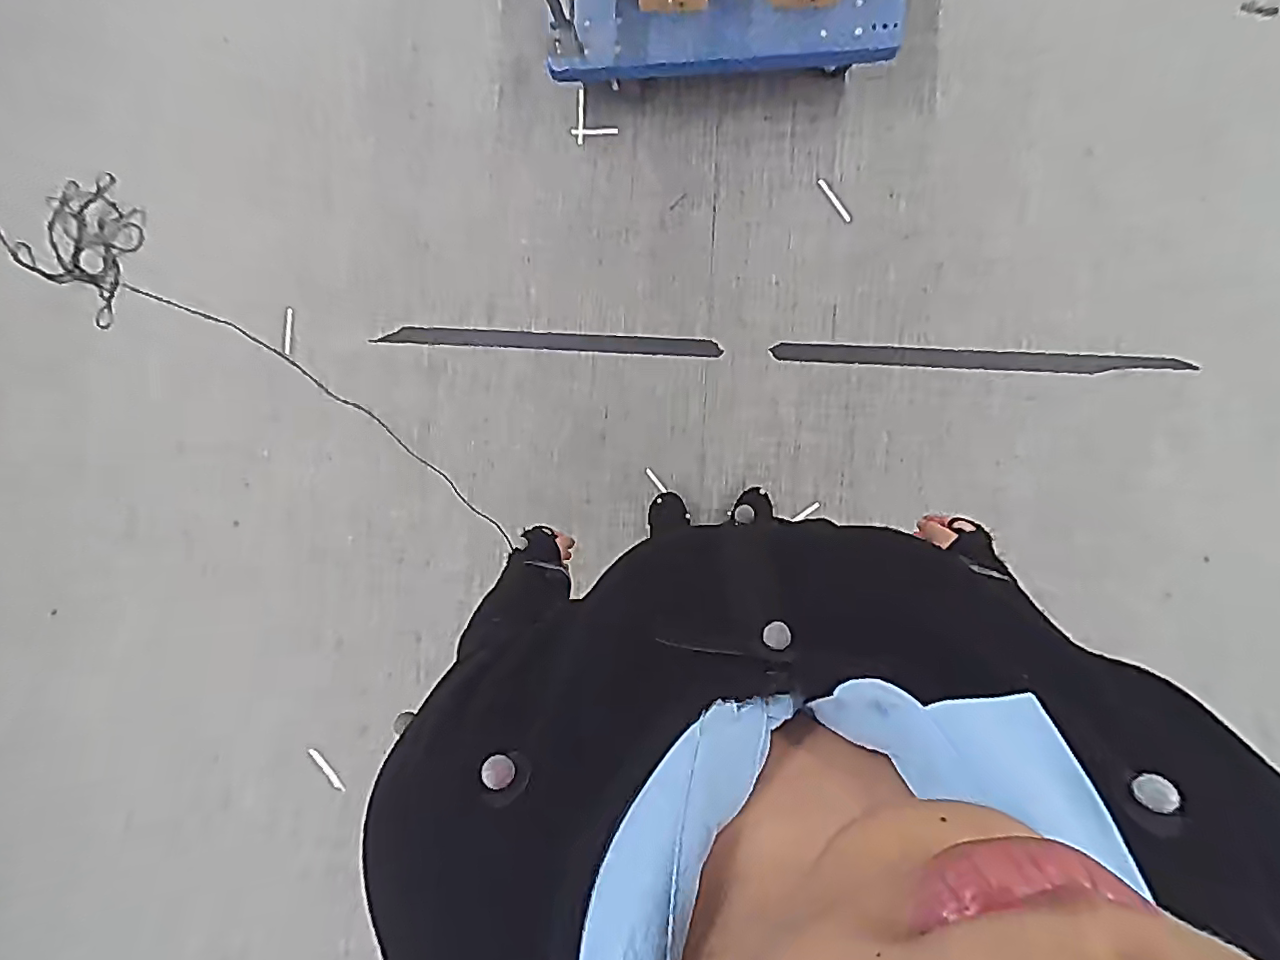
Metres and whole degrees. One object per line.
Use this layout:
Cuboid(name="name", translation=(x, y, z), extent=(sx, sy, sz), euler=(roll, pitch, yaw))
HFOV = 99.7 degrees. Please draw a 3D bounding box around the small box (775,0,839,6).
Cuboid(name="small box", translation=(0.392, -1.222, 1.210), extent=(0.168, 0.176, 0.179), euler=(6, 90, 7))
